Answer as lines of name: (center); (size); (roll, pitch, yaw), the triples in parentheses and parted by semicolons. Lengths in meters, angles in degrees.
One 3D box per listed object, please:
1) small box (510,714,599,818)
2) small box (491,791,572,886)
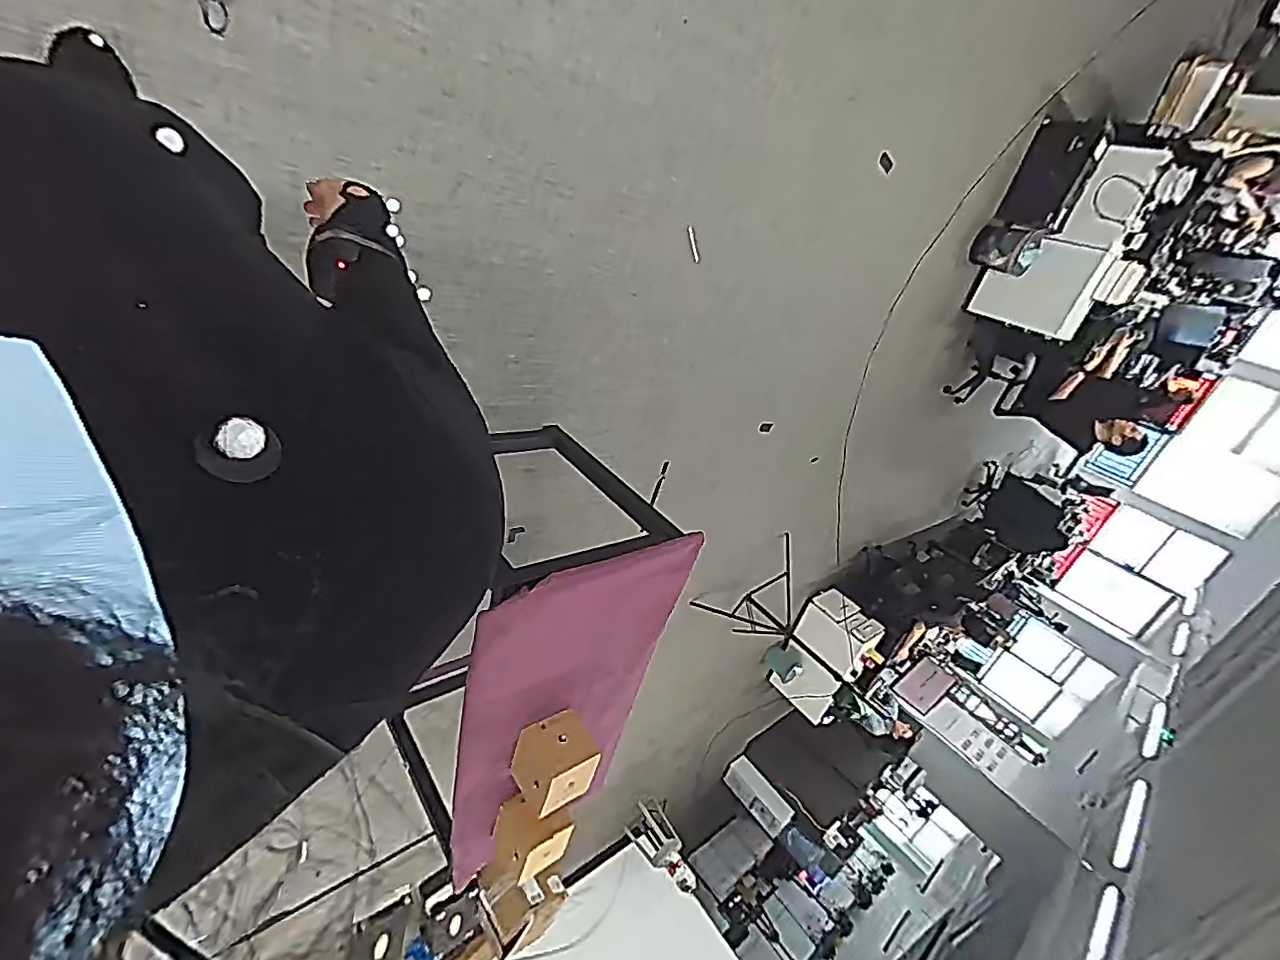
small box: (-0.245, 0.787, 1.514); (0.168, 0.176, 0.179); (-6, 124, -43)
small box: (-0.339, 1.076, 1.658); (0.168, 0.176, 0.179); (-6, 124, -44)
